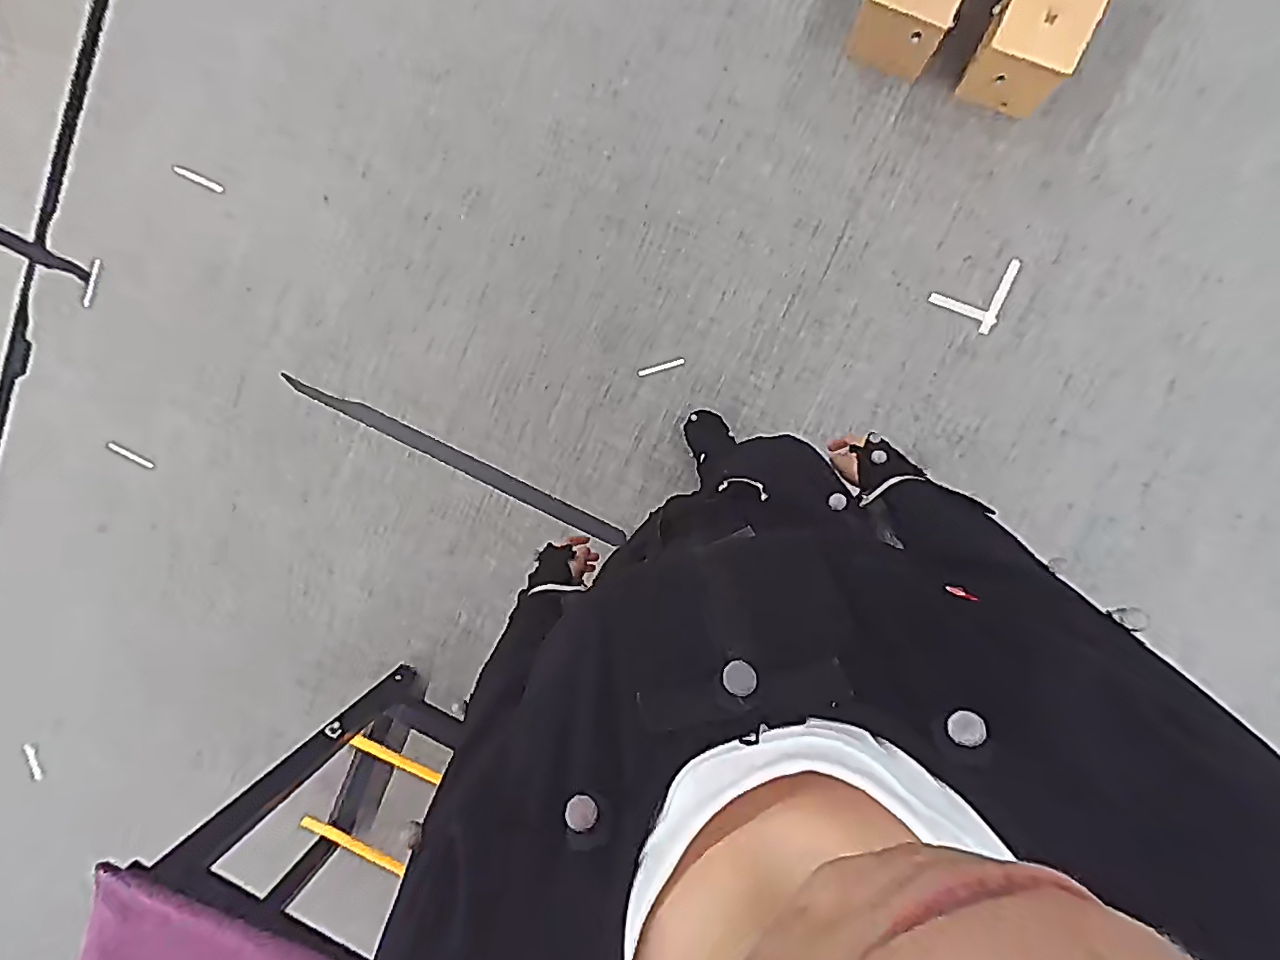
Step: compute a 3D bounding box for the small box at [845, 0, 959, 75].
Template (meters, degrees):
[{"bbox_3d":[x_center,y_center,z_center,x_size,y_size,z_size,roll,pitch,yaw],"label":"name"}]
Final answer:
[{"bbox_3d":[0.563,-1.002,1.134,0.179,0.176,0.168,25,99,4],"label":"small box"}]
